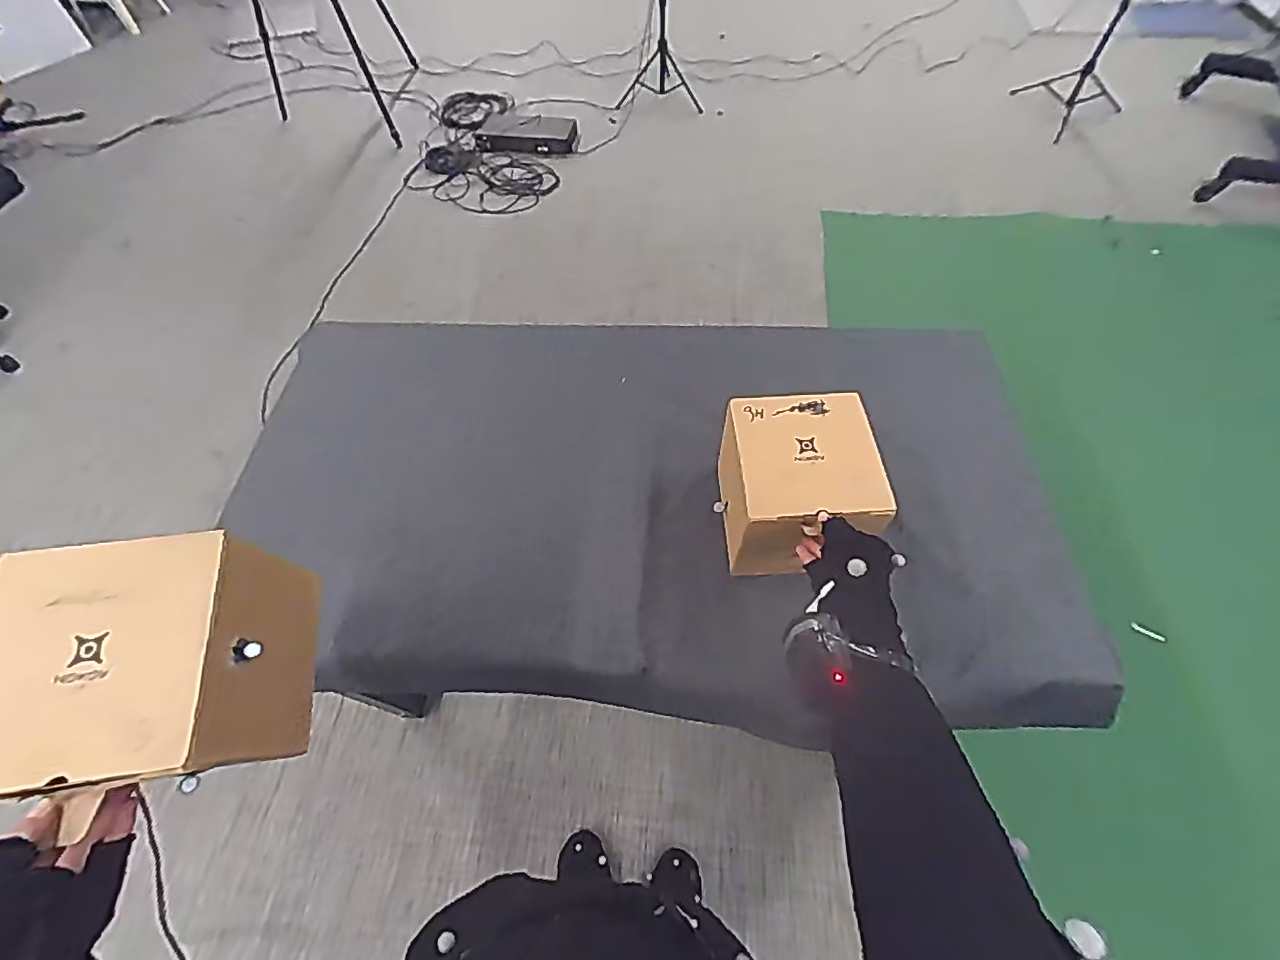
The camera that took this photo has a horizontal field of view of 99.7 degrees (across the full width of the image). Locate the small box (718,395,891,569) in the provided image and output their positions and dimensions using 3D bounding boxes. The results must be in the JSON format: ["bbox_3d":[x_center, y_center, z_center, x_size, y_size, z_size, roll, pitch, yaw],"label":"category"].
[{"bbox_3d":[0.197,0.010,0.706,0.168,0.176,0.179,-2,59,0],"label":"small box"}]

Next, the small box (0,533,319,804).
[{"bbox_3d":[-0.402,0.159,0.462,0.168,0.176,0.179,-6,67,-7],"label":"small box"}]
